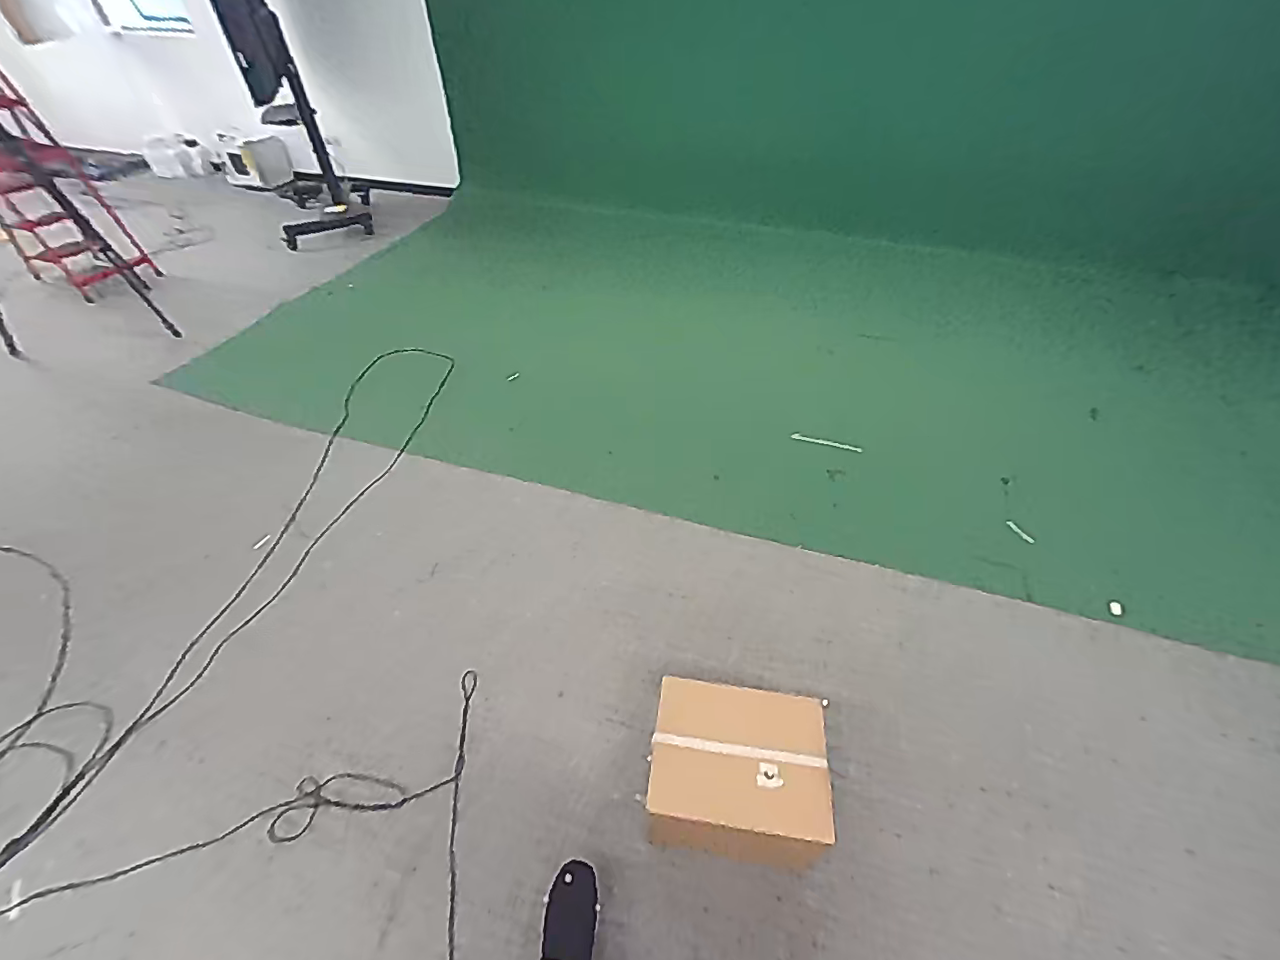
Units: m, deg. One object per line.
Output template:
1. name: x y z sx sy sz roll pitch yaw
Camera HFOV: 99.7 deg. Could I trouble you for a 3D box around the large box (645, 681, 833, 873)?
1. large box: 0.229 0.744 1.360 0.408 0.320 0.320 6 45 6
